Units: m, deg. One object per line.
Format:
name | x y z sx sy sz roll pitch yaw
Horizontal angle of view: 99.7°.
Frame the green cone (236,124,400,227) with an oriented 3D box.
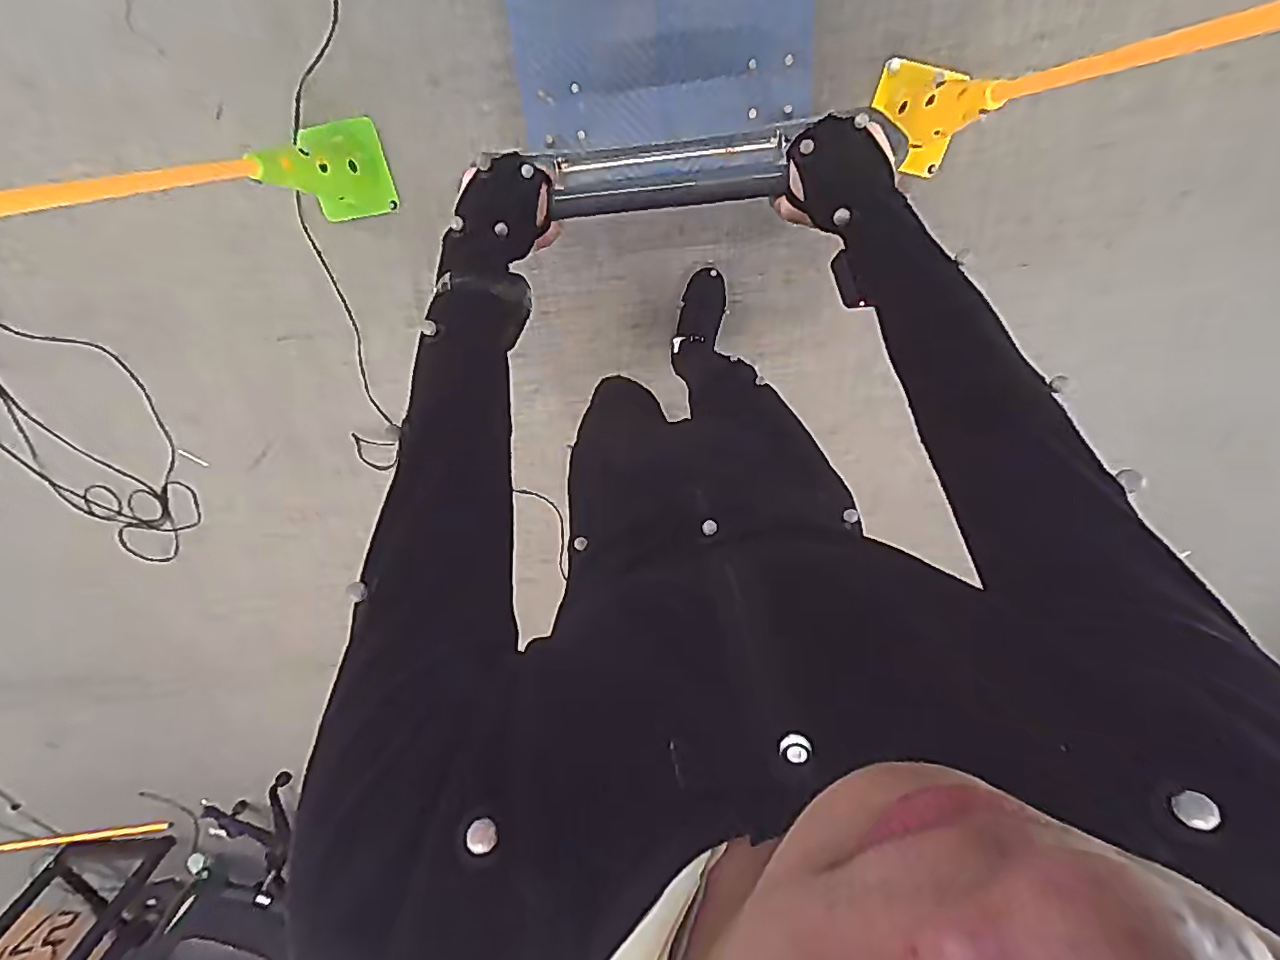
green cone | -0.715 -0.657 1.163 0.202 0.368 0.200 -7 117 8
